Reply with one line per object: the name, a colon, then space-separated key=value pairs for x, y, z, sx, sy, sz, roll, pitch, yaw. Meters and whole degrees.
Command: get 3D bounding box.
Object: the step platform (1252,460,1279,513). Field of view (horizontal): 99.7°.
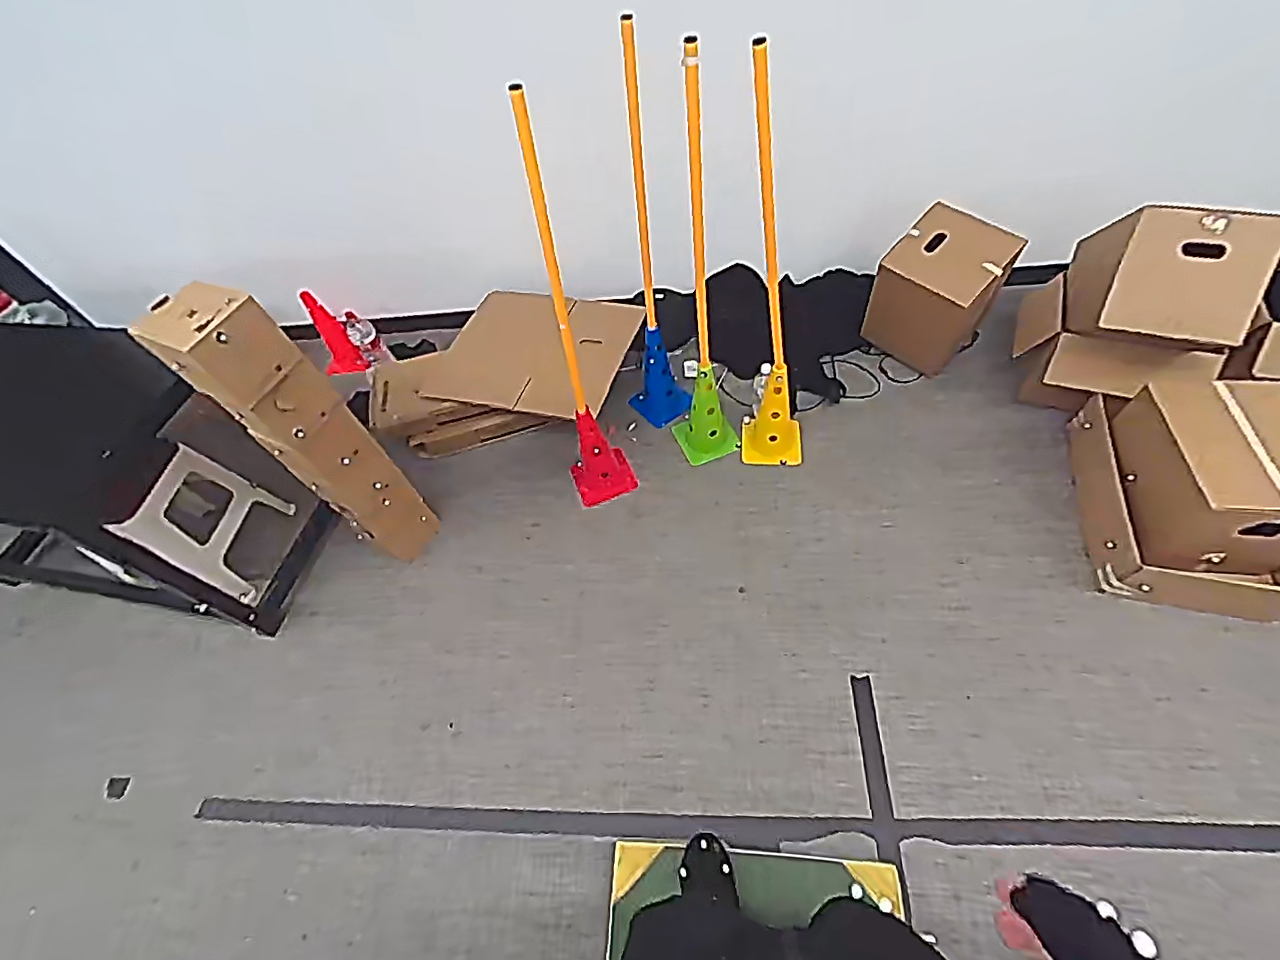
step platform: x=2.151 y=-0.076 z=1.517 sx=0.684 sy=0.204 sz=0.286 roll=-26 pitch=56 yaw=-9
